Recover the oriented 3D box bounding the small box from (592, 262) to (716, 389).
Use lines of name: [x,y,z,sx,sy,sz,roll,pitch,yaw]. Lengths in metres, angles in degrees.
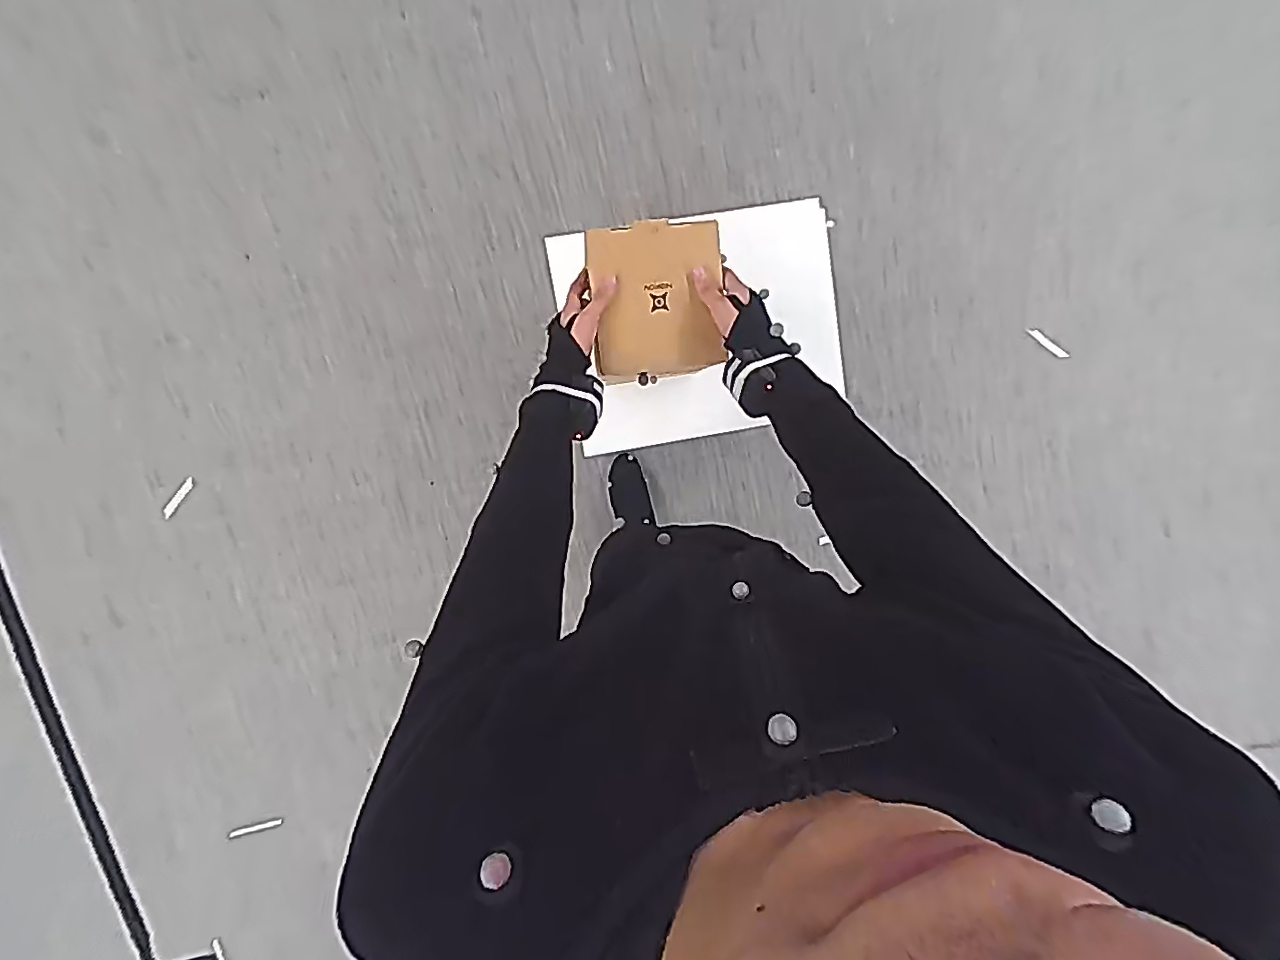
small box: [0.016,-0.250,0.911,0.179,0.176,0.168,-9,97,-5]
